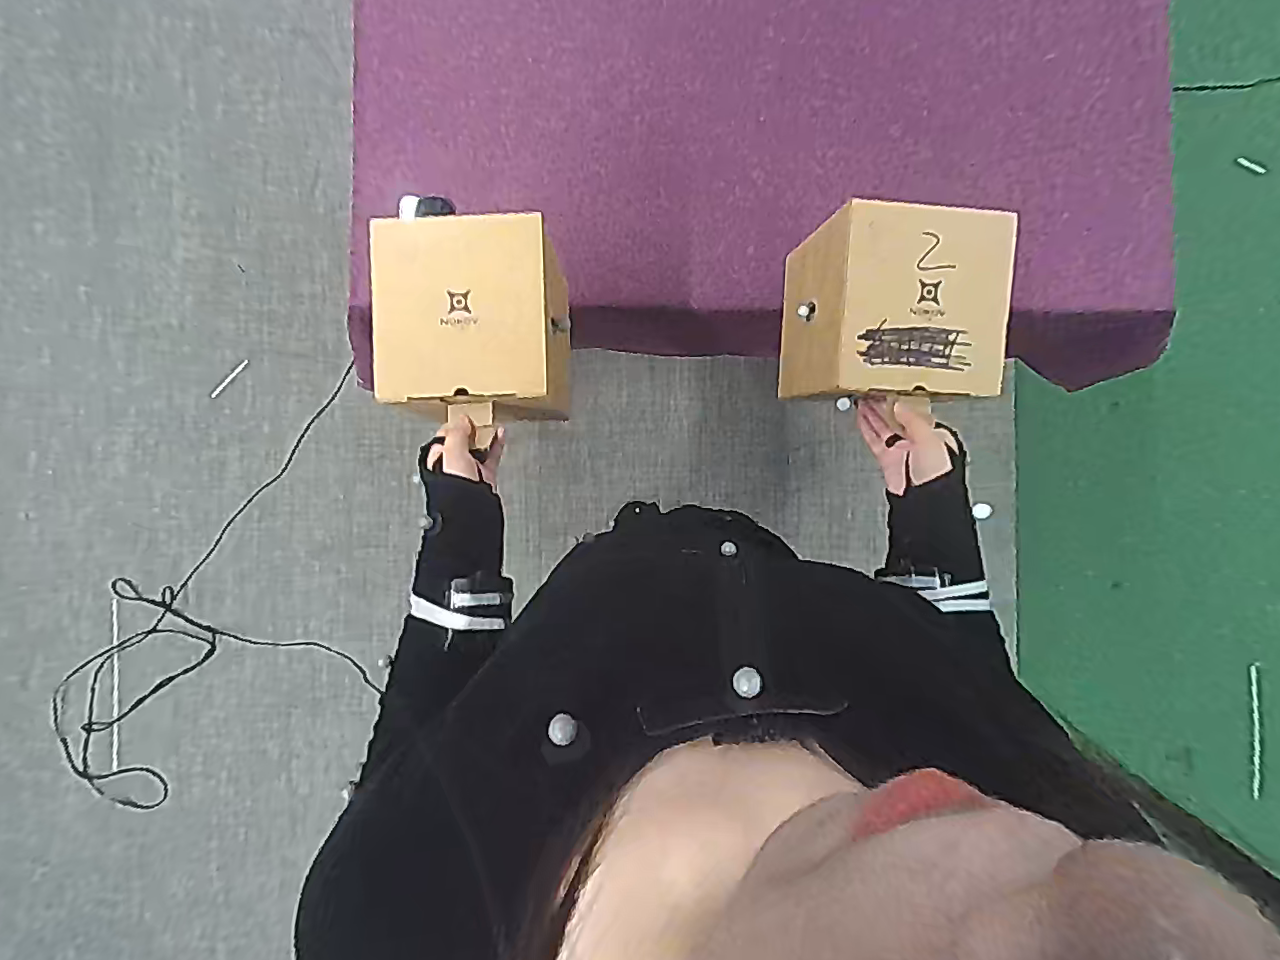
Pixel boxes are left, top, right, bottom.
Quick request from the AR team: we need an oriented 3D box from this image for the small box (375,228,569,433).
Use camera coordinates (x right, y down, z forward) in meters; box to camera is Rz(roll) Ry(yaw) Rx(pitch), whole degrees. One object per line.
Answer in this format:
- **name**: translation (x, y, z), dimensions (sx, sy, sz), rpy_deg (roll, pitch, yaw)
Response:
- **small box**: translation (-0.170, -0.150, 0.593), dimensions (0.168, 0.176, 0.179), rpy_deg (-2, 88, -1)
